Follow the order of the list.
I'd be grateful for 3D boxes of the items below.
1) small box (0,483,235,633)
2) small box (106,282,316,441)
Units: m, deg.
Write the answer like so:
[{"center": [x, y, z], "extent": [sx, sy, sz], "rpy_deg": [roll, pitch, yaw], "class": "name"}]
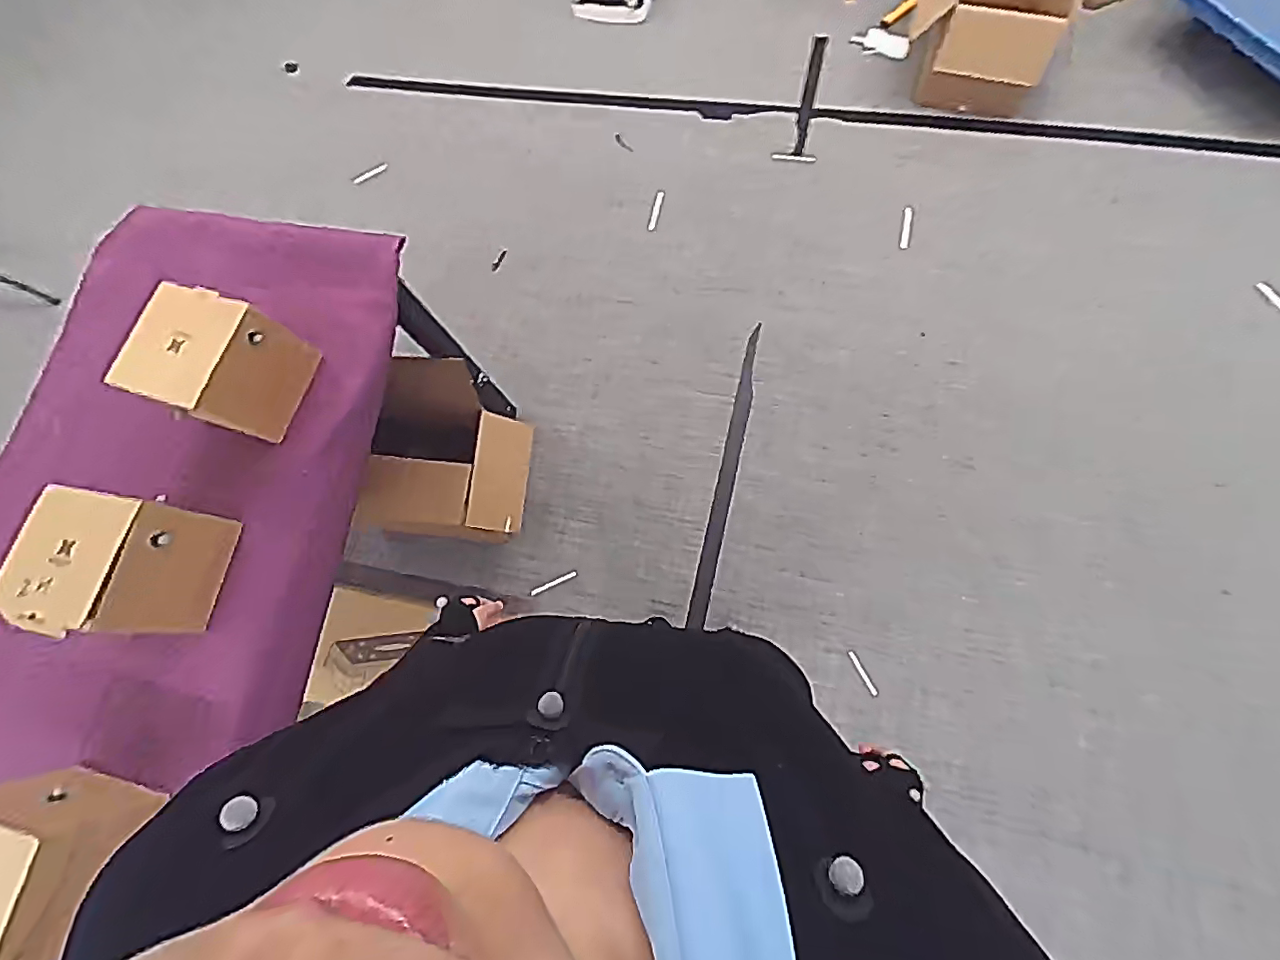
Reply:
[{"center": [-0.749, 0.120, 0.793], "extent": [0.168, 0.176, 0.179], "rpy_deg": [9, 76, 11], "class": "small box"}, {"center": [-0.665, -0.179, 0.863], "extent": [0.168, 0.176, 0.179], "rpy_deg": [16, 77, 10], "class": "small box"}]
